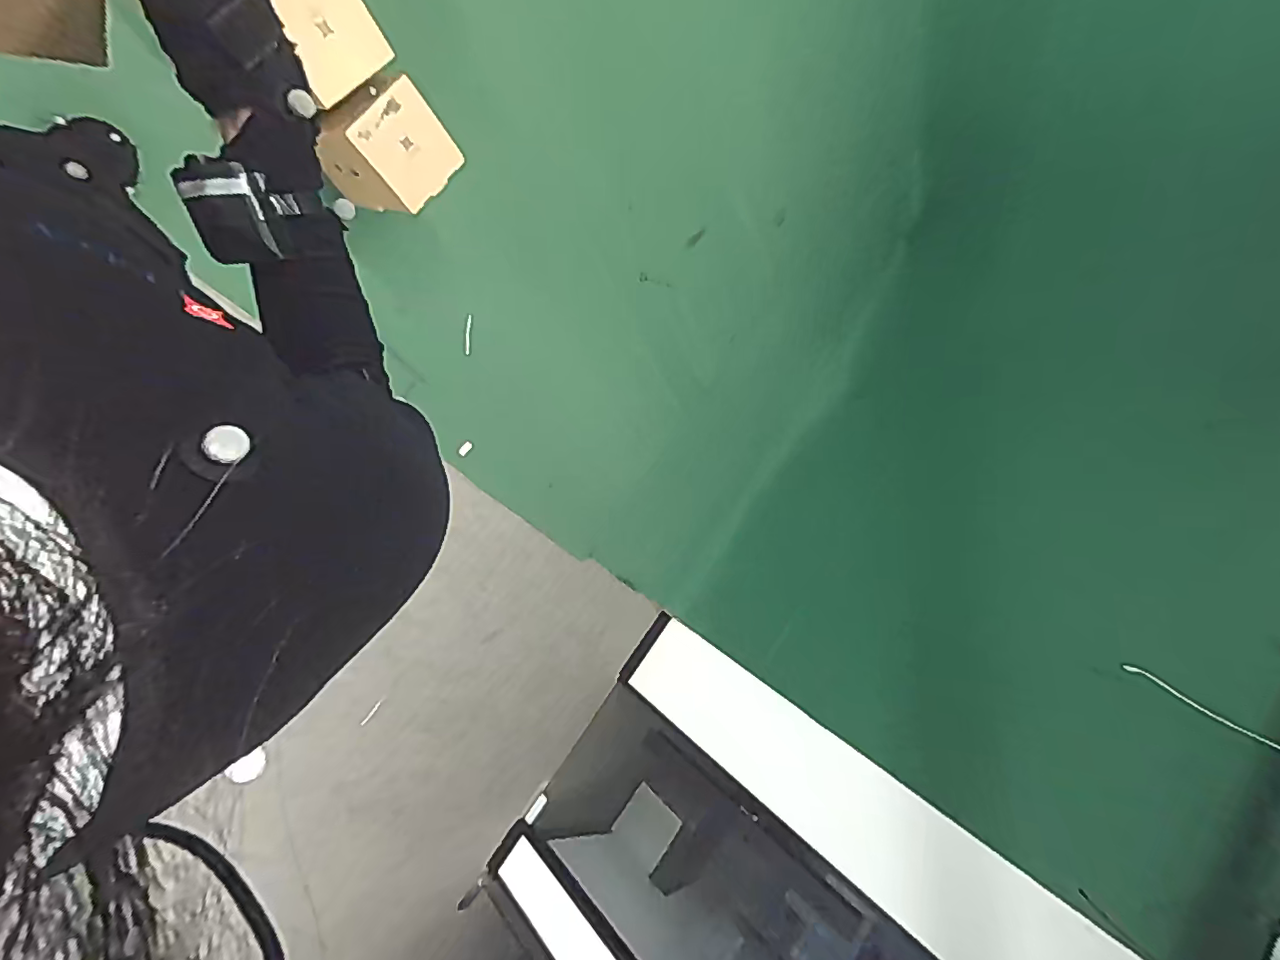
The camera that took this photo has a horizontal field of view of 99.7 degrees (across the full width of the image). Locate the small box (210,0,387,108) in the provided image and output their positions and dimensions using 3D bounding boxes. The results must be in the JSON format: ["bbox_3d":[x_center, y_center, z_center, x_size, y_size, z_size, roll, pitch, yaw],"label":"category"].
[{"bbox_3d":[-0.586,-0.779,0.932,0.168,0.176,0.179,-49,141,-14],"label":"small box"}]

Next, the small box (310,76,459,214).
[{"bbox_3d":[-0.512,-0.675,1.089,0.168,0.176,0.179,-53,145,-11],"label":"small box"}]
